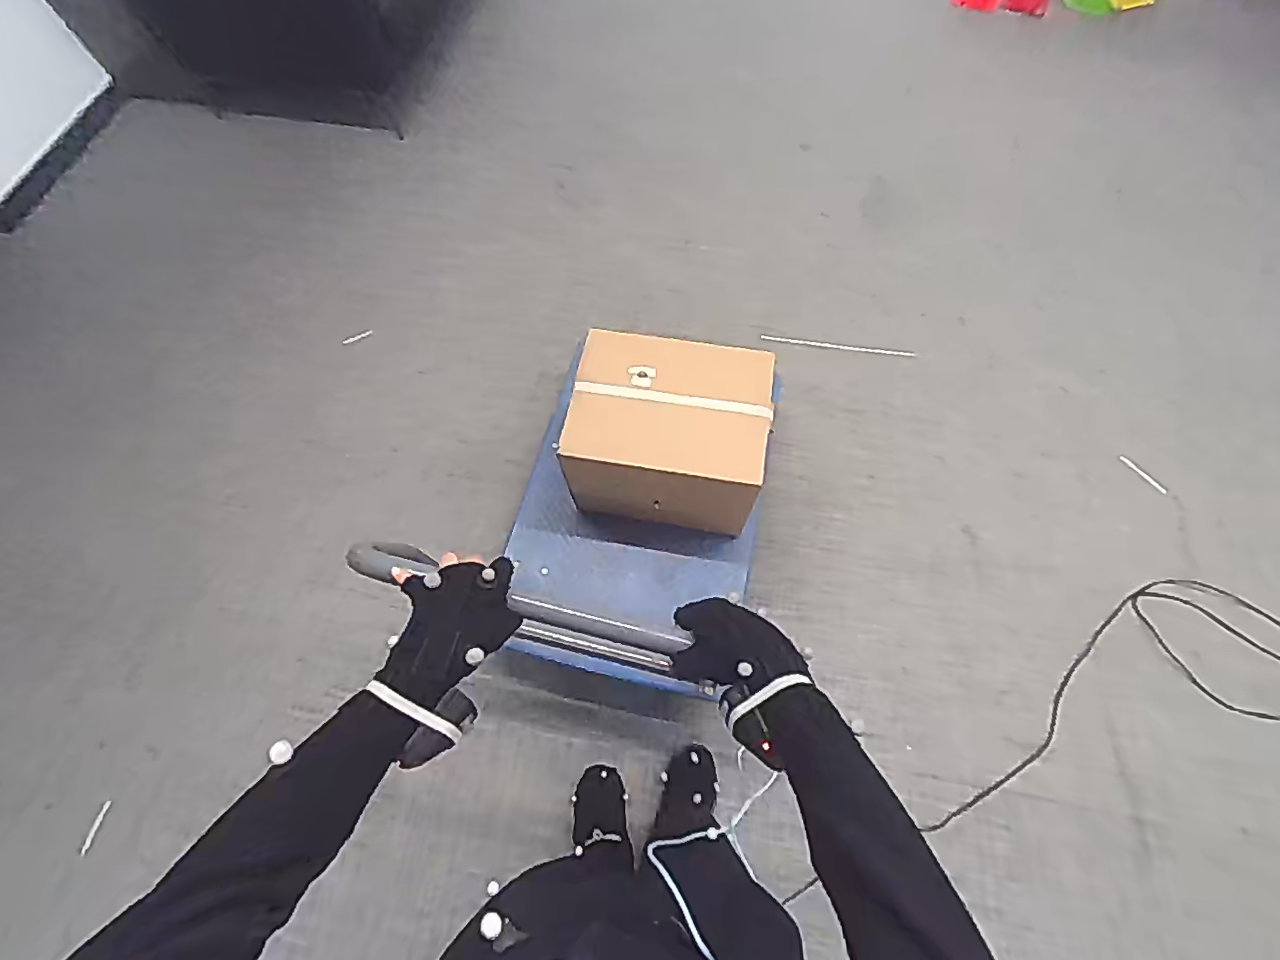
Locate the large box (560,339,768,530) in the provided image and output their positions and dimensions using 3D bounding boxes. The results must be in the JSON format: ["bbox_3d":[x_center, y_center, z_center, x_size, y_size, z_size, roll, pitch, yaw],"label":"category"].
[{"bbox_3d":[0.065,-0.093,1.250,0.408,0.320,0.320,7,66,6],"label":"large box"}]
